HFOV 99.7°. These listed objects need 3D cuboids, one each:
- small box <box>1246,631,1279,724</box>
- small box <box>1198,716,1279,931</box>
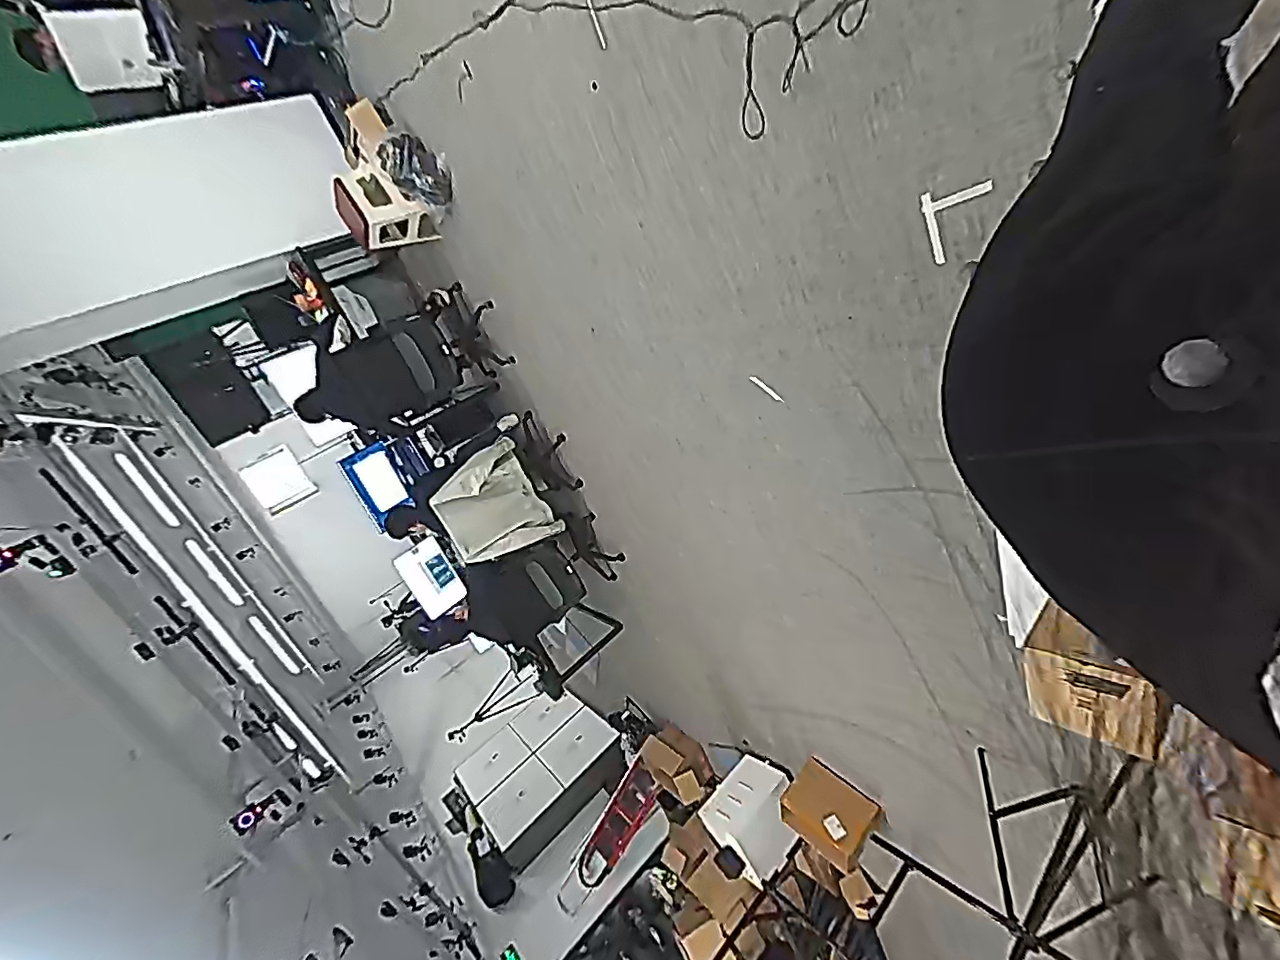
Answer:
[{"bbox_3d":[0.911,0.328,0.698,0.168,0.176,0.179,14,132,51],"label":"small box"},{"bbox_3d":[0.792,0.418,0.629,0.168,0.176,0.179,13,131,52],"label":"small box"}]
